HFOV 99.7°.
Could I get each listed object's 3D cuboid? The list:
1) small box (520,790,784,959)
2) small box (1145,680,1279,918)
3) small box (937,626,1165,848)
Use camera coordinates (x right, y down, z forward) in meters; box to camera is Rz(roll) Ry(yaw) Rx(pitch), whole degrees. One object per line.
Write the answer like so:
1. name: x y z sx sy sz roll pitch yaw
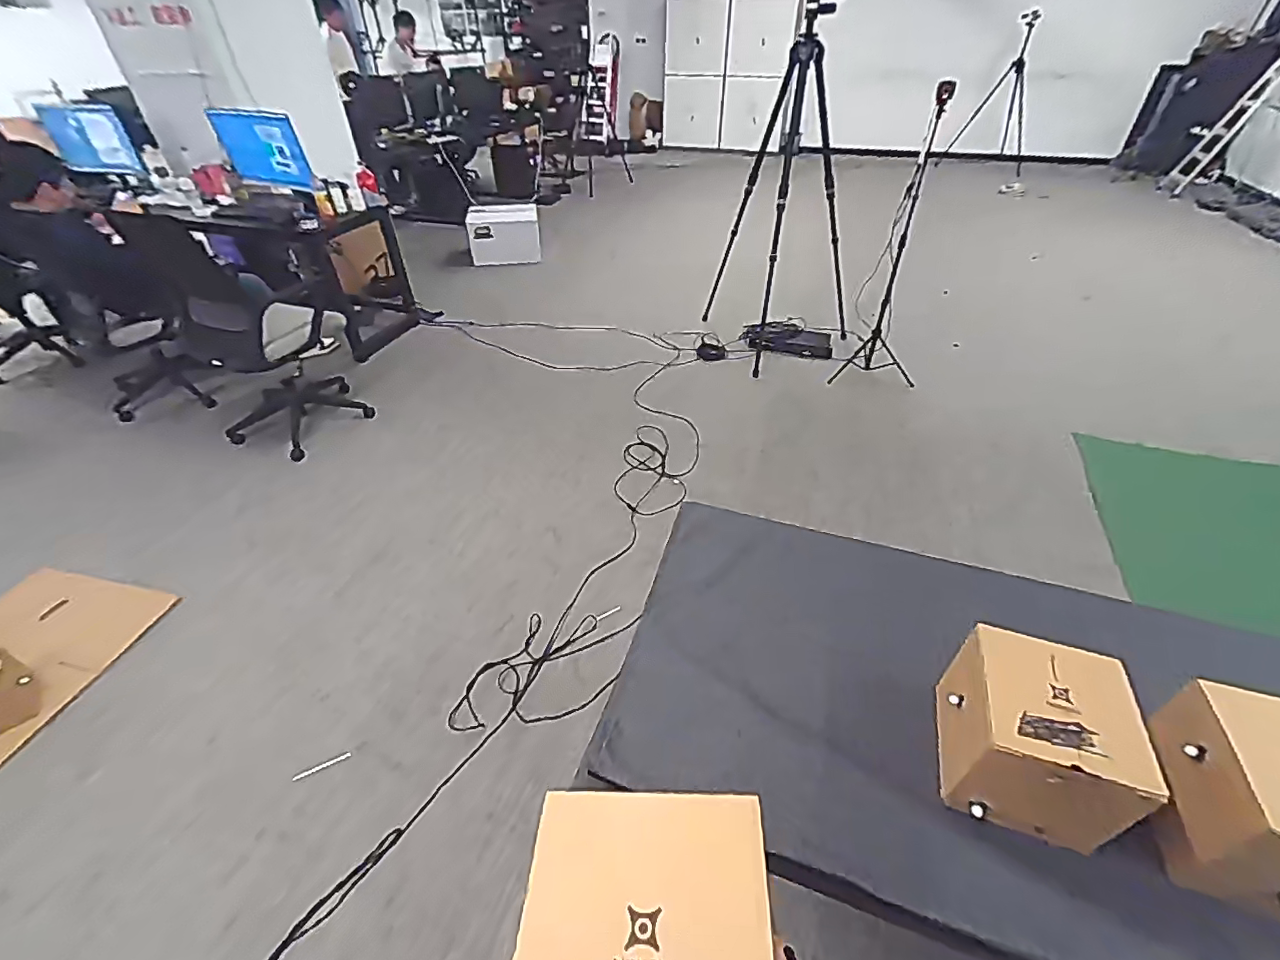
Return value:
1. small box: 0.013 0.353 0.387 0.168 0.176 0.179 -2 38 6
2. small box: 0.724 0.372 0.624 0.168 0.176 0.179 11 41 15
3. small box: 0.495 0.324 0.687 0.168 0.176 0.179 13 40 16
